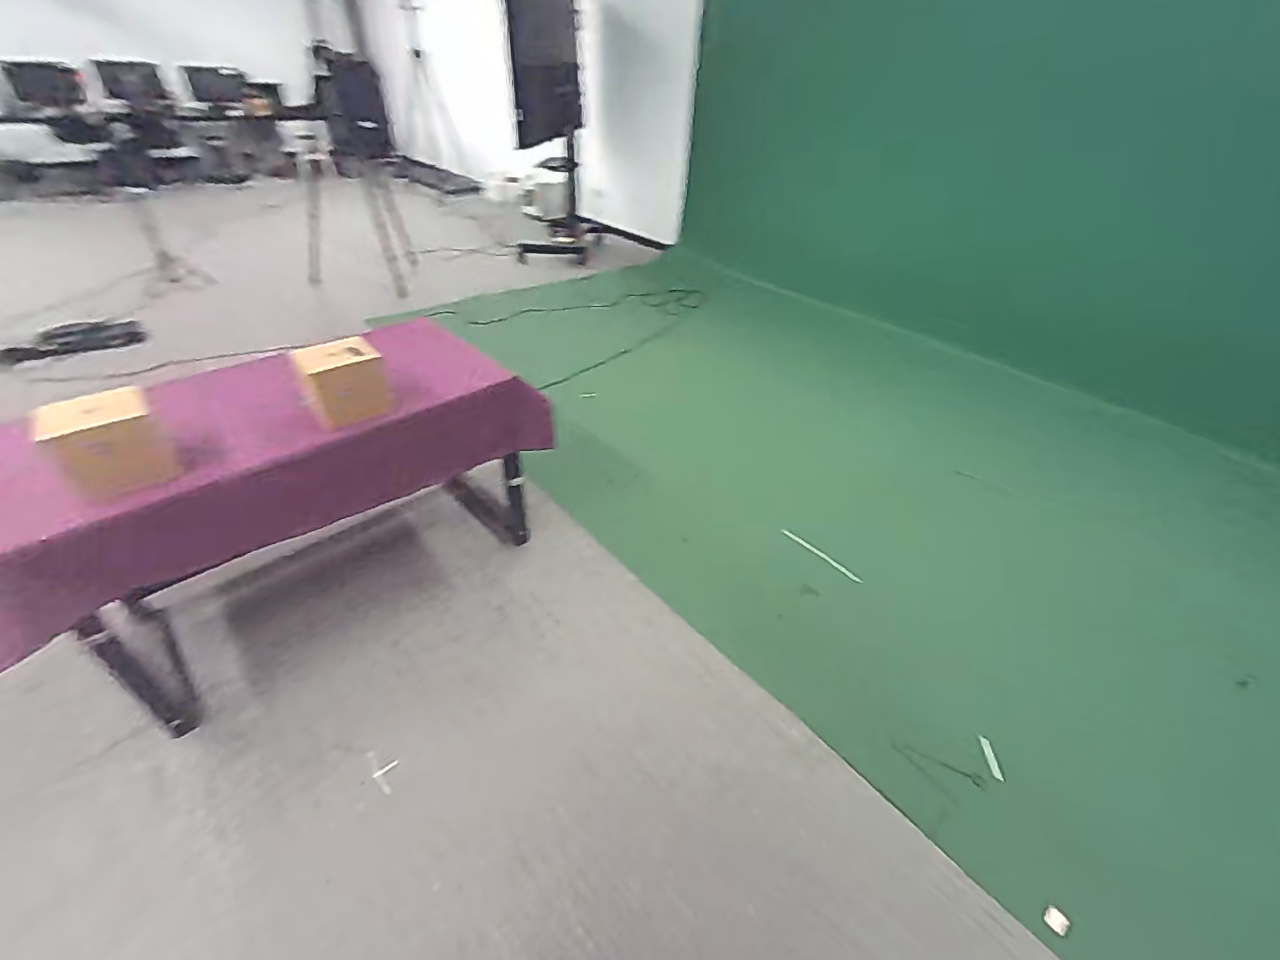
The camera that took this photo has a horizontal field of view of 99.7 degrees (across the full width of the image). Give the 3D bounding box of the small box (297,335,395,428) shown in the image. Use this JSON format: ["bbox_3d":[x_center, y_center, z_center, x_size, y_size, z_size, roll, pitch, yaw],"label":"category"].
[{"bbox_3d":[-0.783,-0.265,1.457,0.179,0.176,0.168,-28,47,-32],"label":"small box"}]

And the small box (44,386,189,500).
[{"bbox_3d":[-1.149,-0.082,1.195,0.179,0.176,0.168,-26,47,-32],"label":"small box"}]
